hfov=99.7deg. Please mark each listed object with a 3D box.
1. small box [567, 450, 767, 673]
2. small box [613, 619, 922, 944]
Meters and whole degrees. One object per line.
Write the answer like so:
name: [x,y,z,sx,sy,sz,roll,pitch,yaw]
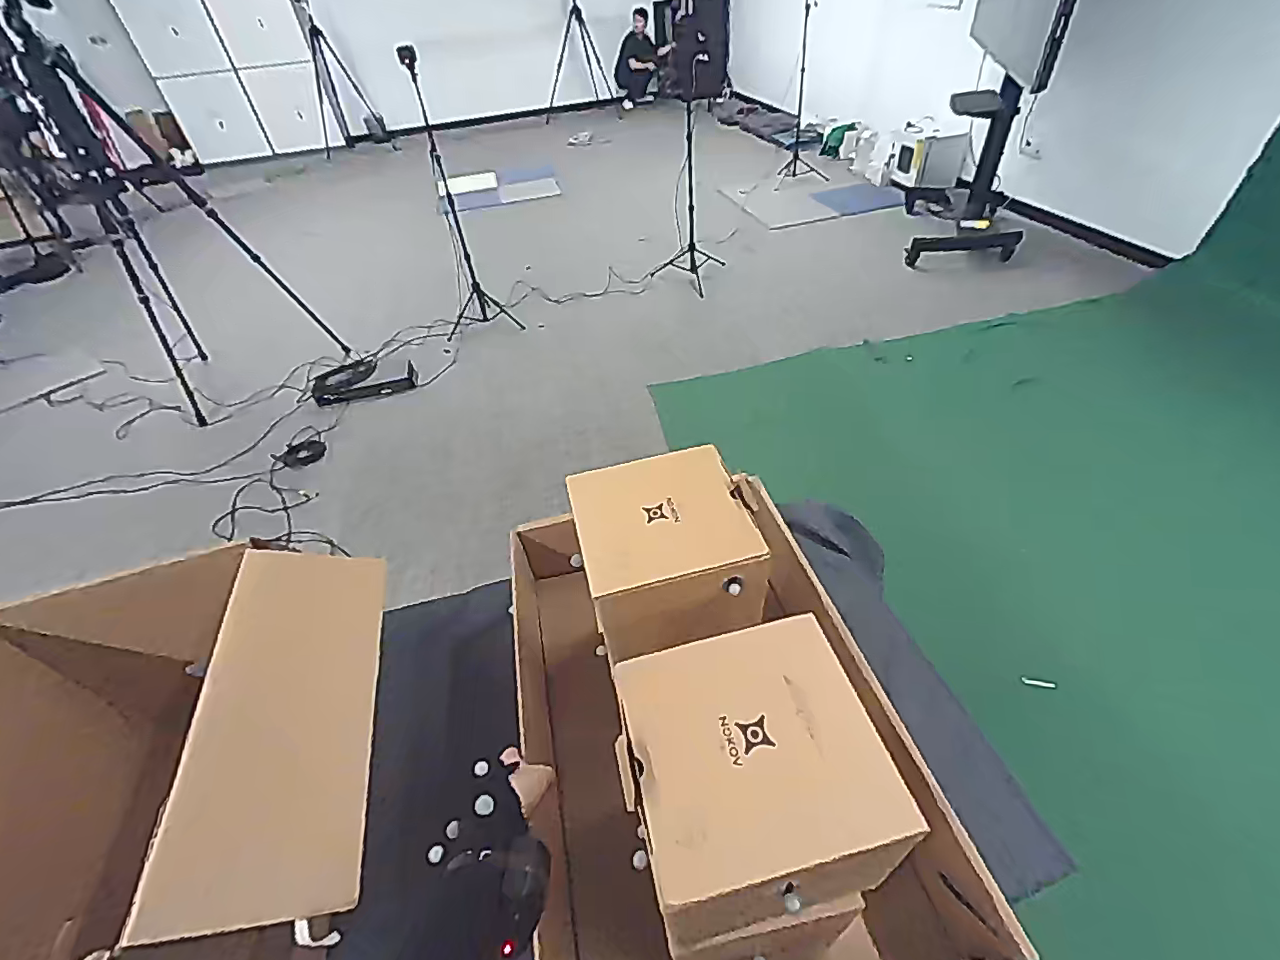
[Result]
small box: [0.027,0.096,0.611,0.179,0.176,0.168,-13,46,-7]
small box: [0.087,0.247,0.443,0.179,0.176,0.168,-13,44,-6]
